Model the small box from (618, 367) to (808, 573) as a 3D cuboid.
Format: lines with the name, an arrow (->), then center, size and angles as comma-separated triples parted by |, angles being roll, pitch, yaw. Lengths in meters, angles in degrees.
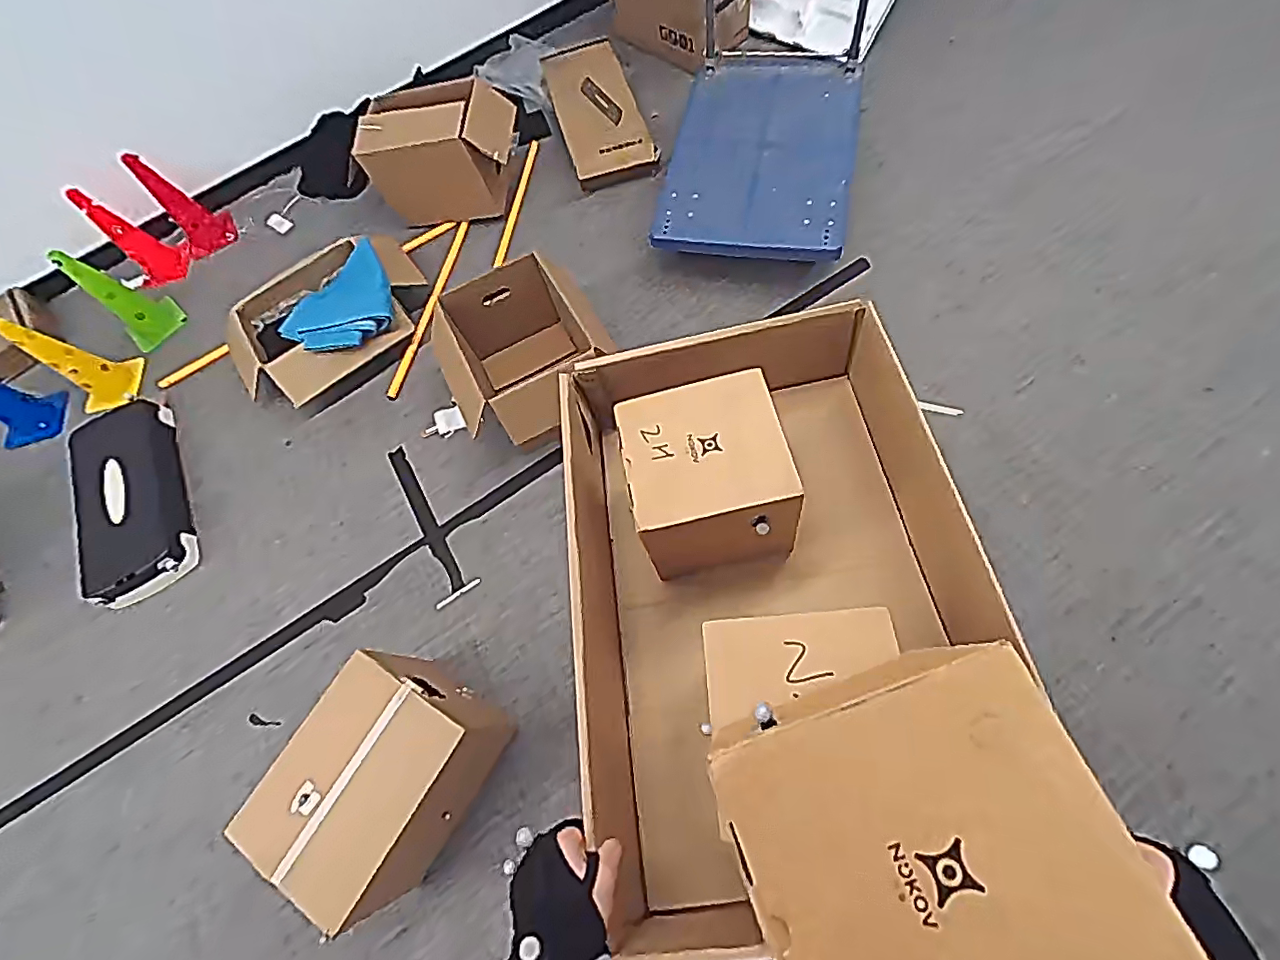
small box -> 0.083, -0.003, 0.647 | 0.179, 0.176, 0.168 | -13, 61, 4

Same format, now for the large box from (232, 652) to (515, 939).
large box -> -0.546, 0.644, 1.191 | 0.320, 0.320, 0.408 | 26, 74, 18
